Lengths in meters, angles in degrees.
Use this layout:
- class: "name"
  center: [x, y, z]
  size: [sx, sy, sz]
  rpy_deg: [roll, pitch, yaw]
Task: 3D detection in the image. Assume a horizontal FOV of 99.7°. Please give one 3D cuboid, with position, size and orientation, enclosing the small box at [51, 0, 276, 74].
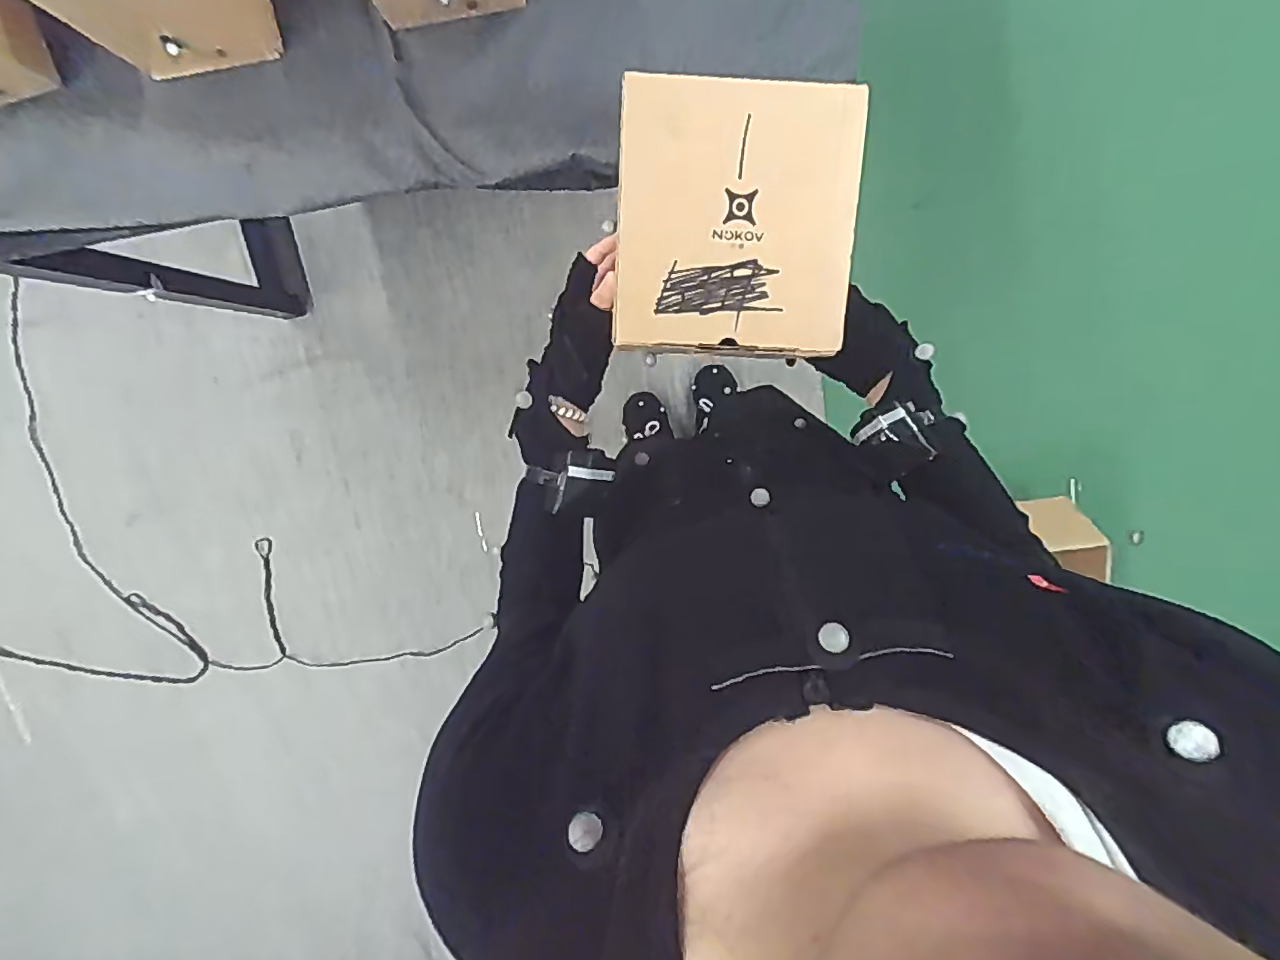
- class: "small box"
  center: [-0.522, -0.568, 0.555]
  size: [0.168, 0.176, 0.179]
  rpy_deg: [-9, 101, 1]

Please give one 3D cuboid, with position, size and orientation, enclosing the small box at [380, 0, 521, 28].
- class: "small box"
  center: [-0.228, -0.617, 0.548]
  size: [0.168, 0.176, 0.179]
  rpy_deg: [-8, 101, 1]

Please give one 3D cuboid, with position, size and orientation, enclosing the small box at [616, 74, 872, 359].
- class: "small box"
  center: [0.068, -0.195, 0.453]
  size: [0.168, 0.176, 0.179]
  rpy_deg: [2, 101, -2]
